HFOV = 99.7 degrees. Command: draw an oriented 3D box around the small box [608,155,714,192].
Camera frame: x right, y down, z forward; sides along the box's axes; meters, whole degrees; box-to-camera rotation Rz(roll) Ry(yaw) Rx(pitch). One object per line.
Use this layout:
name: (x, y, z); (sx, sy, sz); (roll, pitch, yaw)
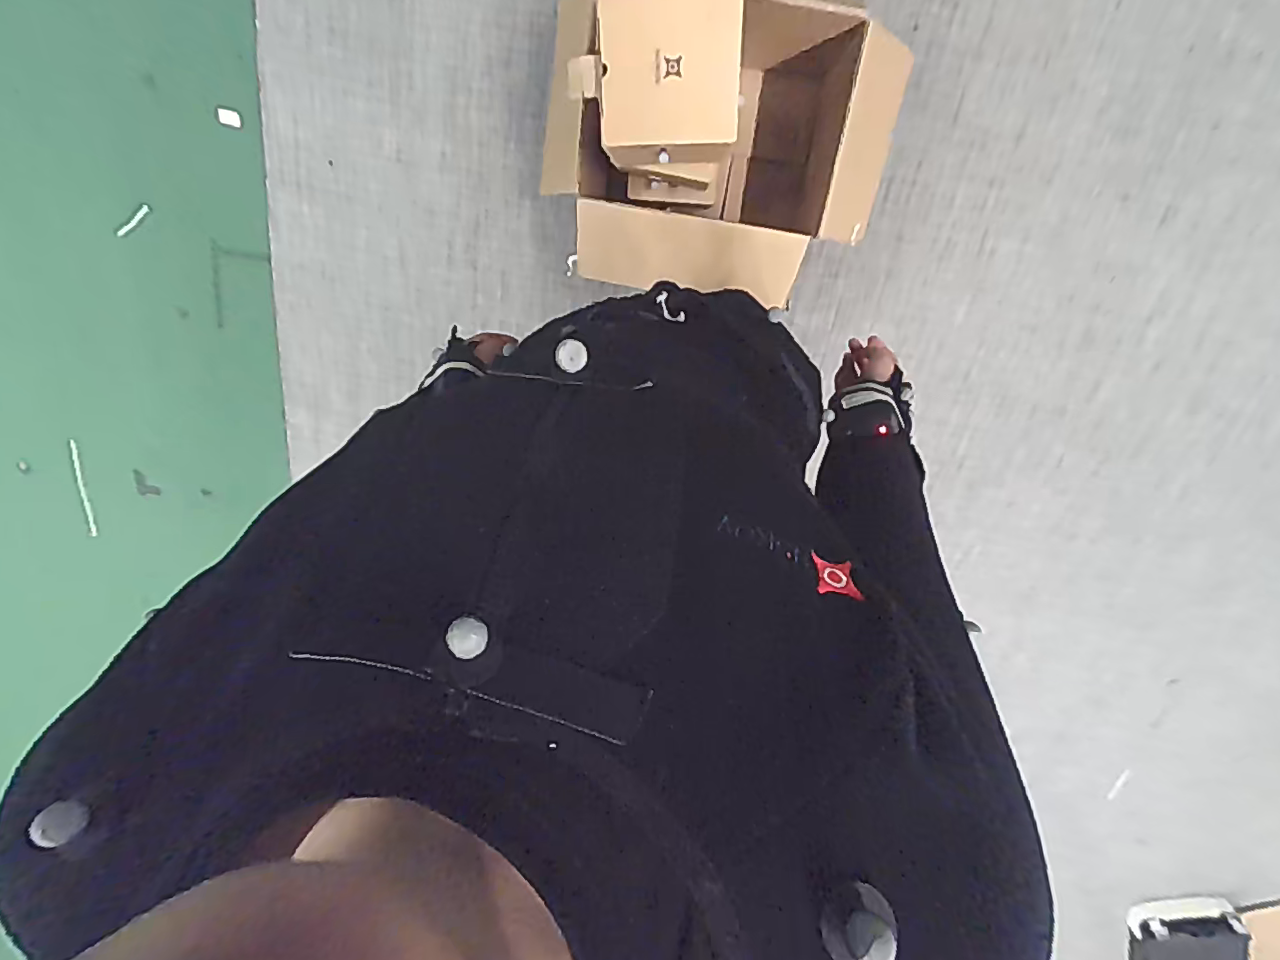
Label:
small box: (0.049, -0.590, 0.886); (0.168, 0.176, 0.179); (12, 114, -2)

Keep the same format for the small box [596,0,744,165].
small box: (0.039, -0.534, 0.733); (0.179, 0.176, 0.168); (1, 113, 4)
